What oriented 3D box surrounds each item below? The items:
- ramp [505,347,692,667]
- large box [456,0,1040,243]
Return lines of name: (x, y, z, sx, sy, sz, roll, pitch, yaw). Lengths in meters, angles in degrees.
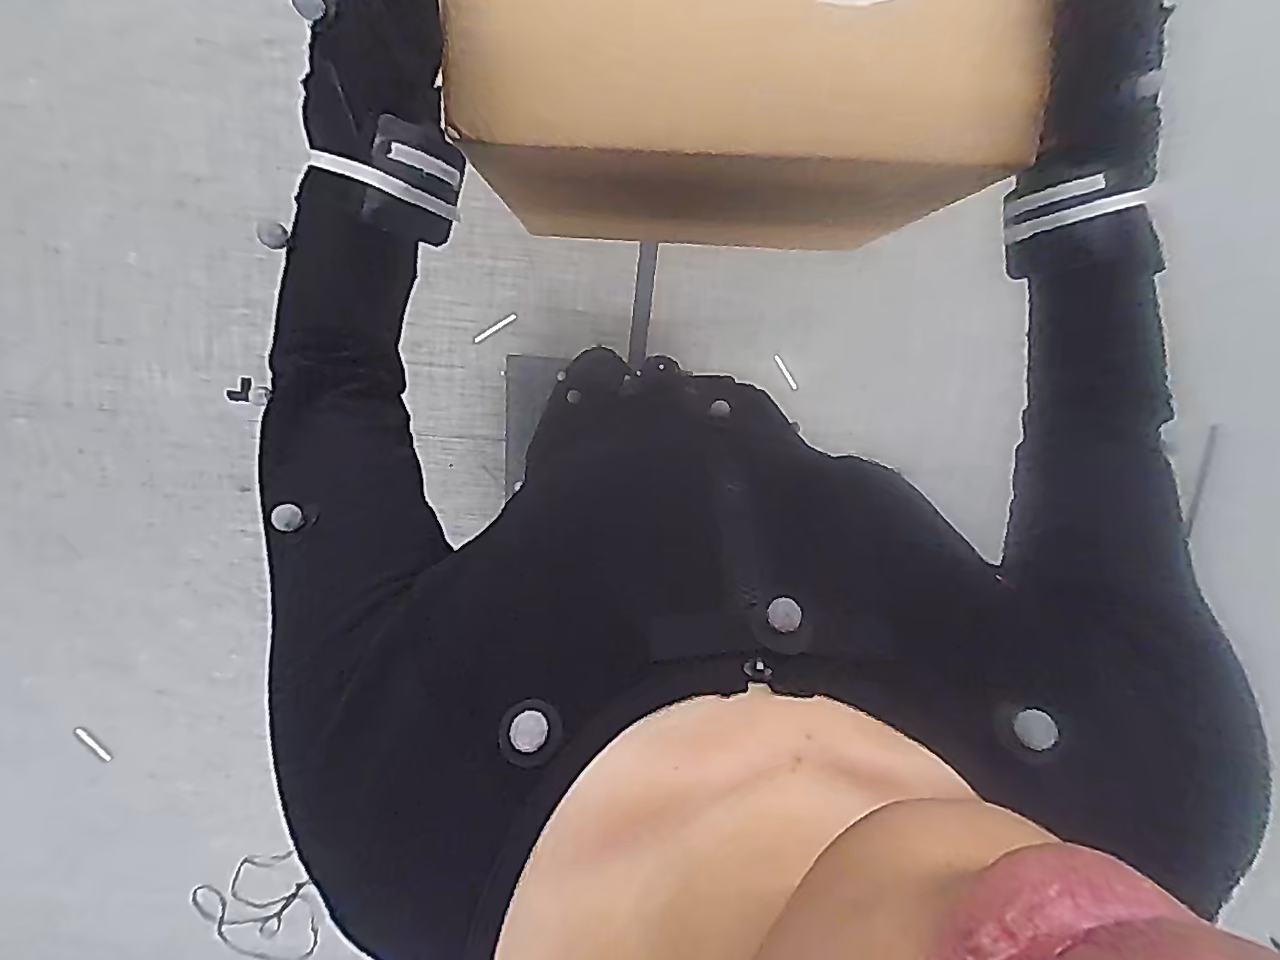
ramp: (-0.146, 0.134, 1.590, 0.509, 0.206, 0.991, 3, 101, -4)
large box: (0.070, -0.416, 0.496, 0.408, 0.320, 0.320, 2, 103, -2)
